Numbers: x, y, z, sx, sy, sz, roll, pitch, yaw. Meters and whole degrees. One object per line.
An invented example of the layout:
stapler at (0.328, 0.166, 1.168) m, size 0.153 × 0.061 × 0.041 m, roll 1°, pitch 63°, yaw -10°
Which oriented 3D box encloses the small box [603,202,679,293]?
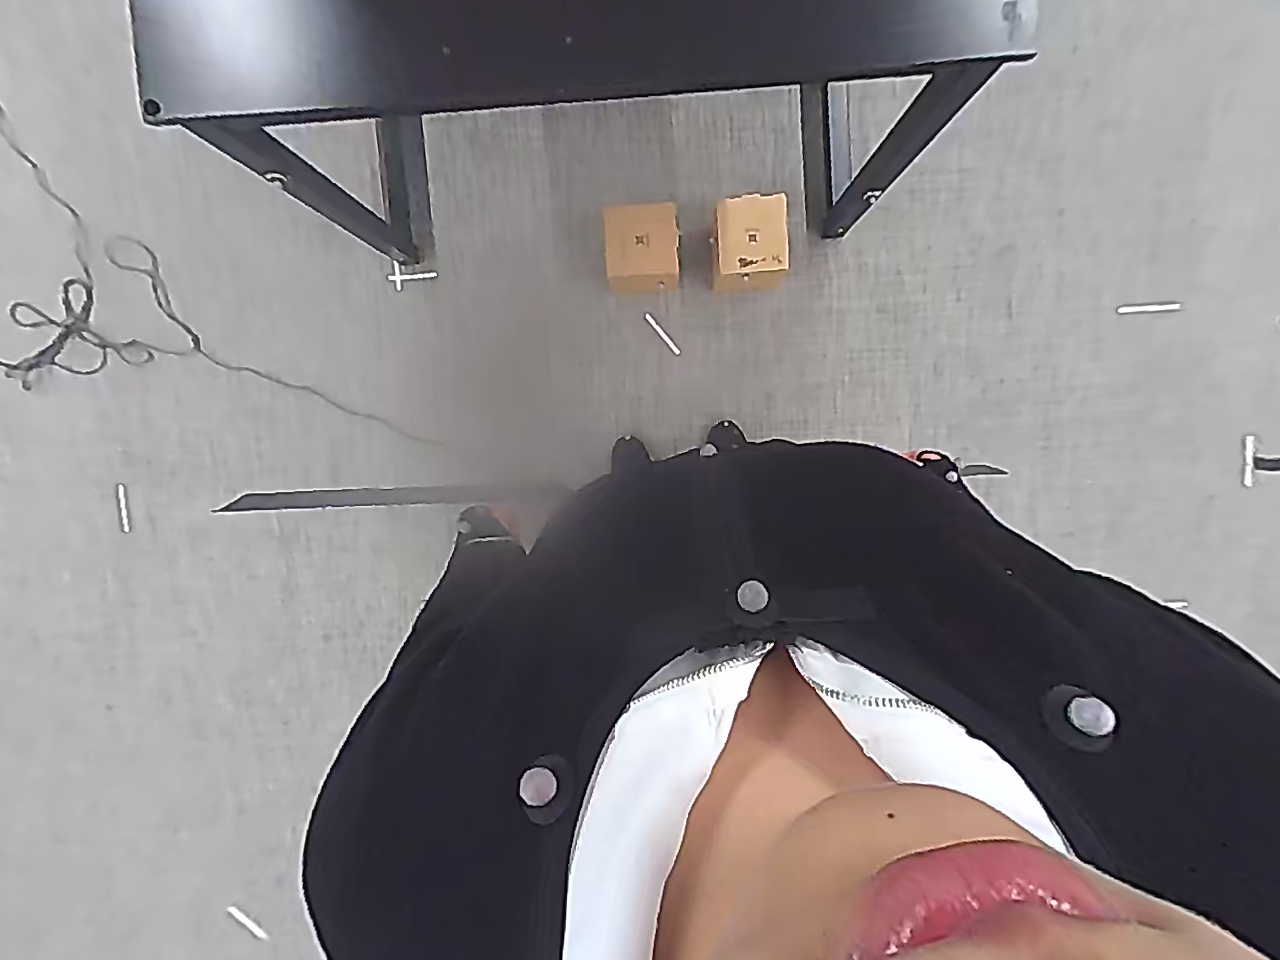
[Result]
small box at (0.005, -0.582, 1.370) m, size 0.179 × 0.176 × 0.168 m, roll -3°, pitch 94°, yaw 3°

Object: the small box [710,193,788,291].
small box at (0.267, -0.590, 1.357) m, size 0.168 × 0.176 × 0.179 m, roll -4°, pitch 95°, yaw 3°
